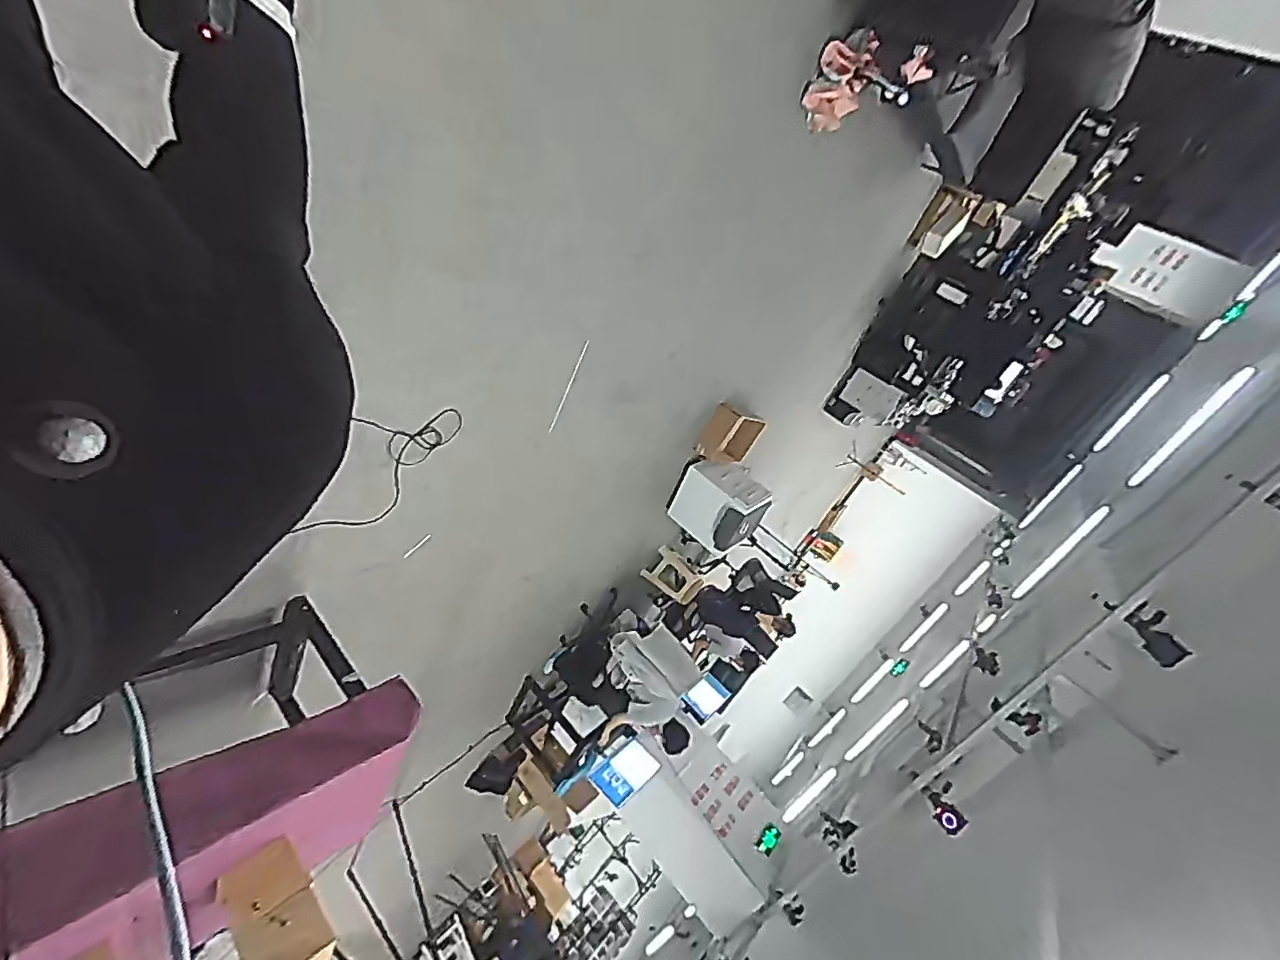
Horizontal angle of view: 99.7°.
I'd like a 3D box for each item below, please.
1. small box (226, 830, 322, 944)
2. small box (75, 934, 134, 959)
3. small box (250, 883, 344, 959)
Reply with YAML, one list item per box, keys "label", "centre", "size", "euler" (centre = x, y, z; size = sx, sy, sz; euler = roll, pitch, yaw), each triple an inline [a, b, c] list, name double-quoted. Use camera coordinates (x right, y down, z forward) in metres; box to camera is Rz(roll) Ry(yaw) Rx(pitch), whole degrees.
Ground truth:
- label: "small box"
  centre: [-1.063, 1.171, 1.570]
  size: [0.179, 0.176, 0.168]
  euler: [-13, 138, -52]
- label: "small box"
  centre: [-1.289, 1.218, 1.250]
  size: [0.179, 0.176, 0.168]
  euler: [-9, 133, -55]
- label: "small box"
  centre: [-0.955, 1.275, 1.498]
  size: [0.168, 0.176, 0.179]
  euler: [-14, 139, -52]
